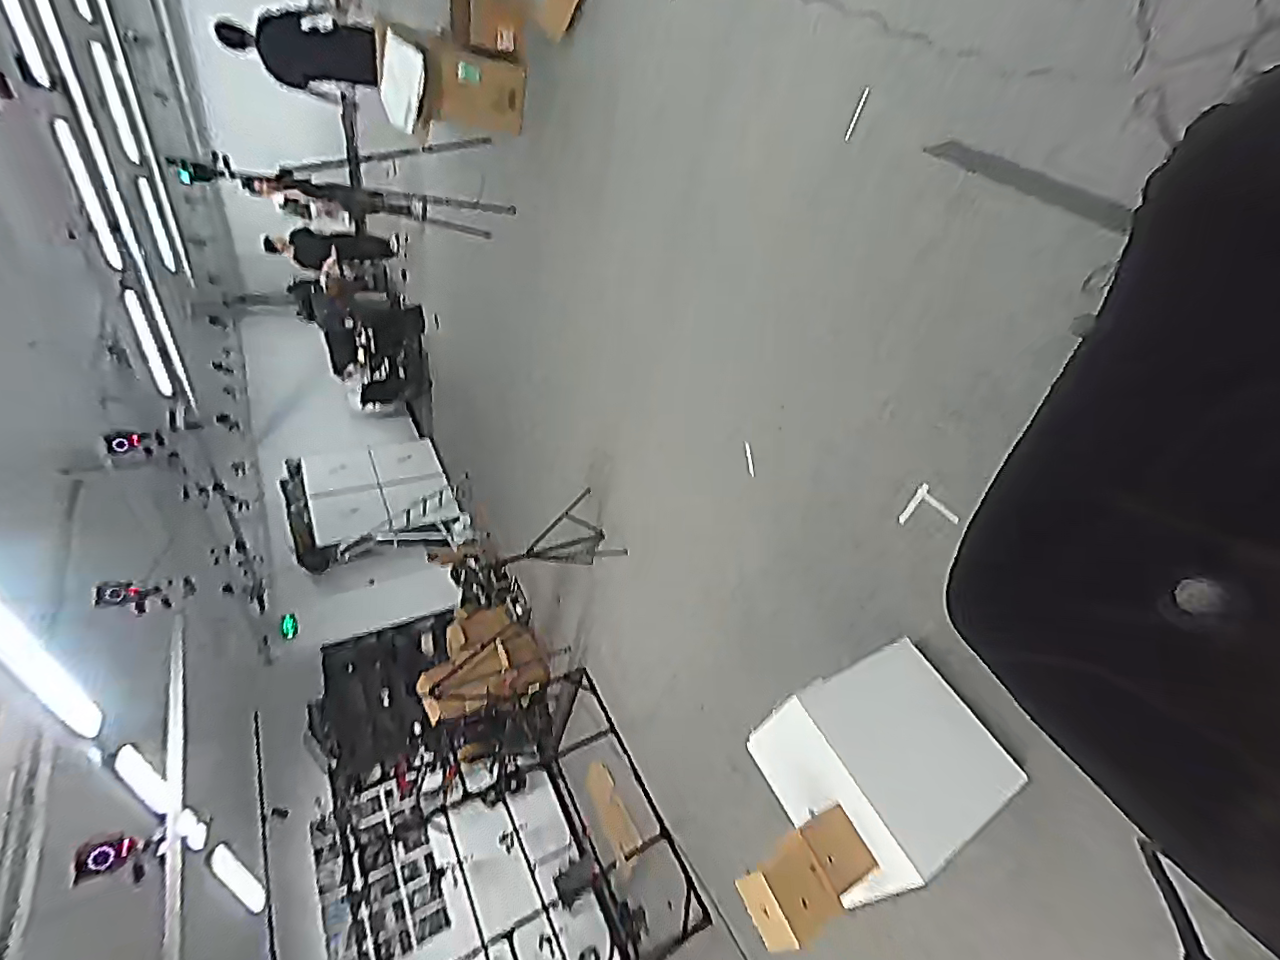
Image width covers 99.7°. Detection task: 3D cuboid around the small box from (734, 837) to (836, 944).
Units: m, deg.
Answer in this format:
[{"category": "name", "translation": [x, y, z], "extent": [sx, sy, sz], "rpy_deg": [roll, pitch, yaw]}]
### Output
[{"category": "small box", "translation": [0.388, 1.082, 1.433], "extent": [0.168, 0.176, 0.179], "rpy_deg": [58, 145, 30]}]

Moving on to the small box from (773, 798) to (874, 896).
[{"category": "small box", "translation": [0.517, 1.040, 1.524], "extent": [0.179, 0.176, 0.168], "rpy_deg": [58, 144, 32]}]
